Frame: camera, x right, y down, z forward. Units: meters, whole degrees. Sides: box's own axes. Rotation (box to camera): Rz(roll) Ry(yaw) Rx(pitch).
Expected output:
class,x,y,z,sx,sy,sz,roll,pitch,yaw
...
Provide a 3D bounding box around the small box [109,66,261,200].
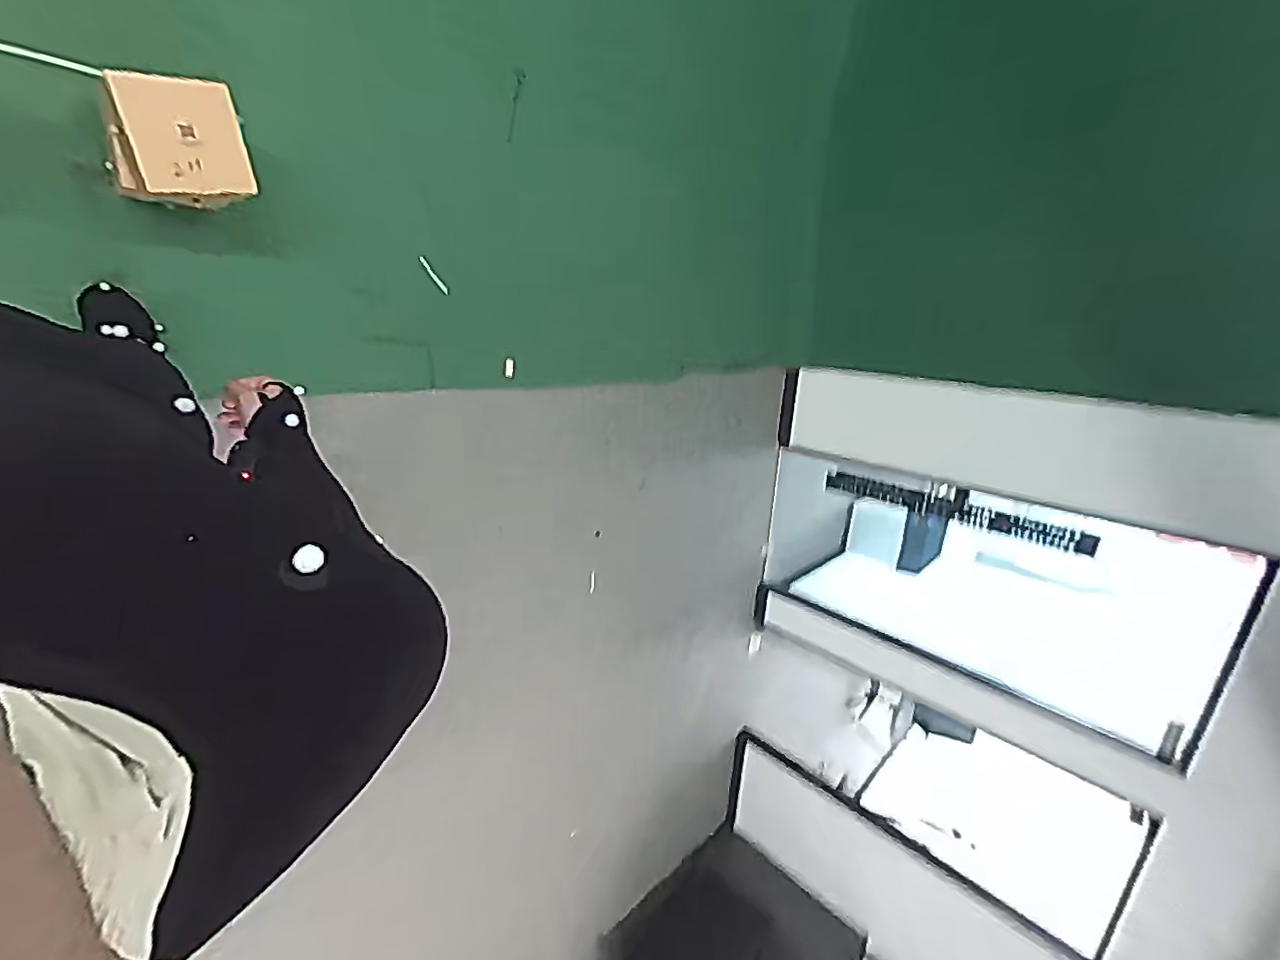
class,x,y,z,sx,sy,sz,roll,pitch,yaw
small box,-0.830,-0.618,0.988,0.168,0.176,0.179,-23,122,-38
